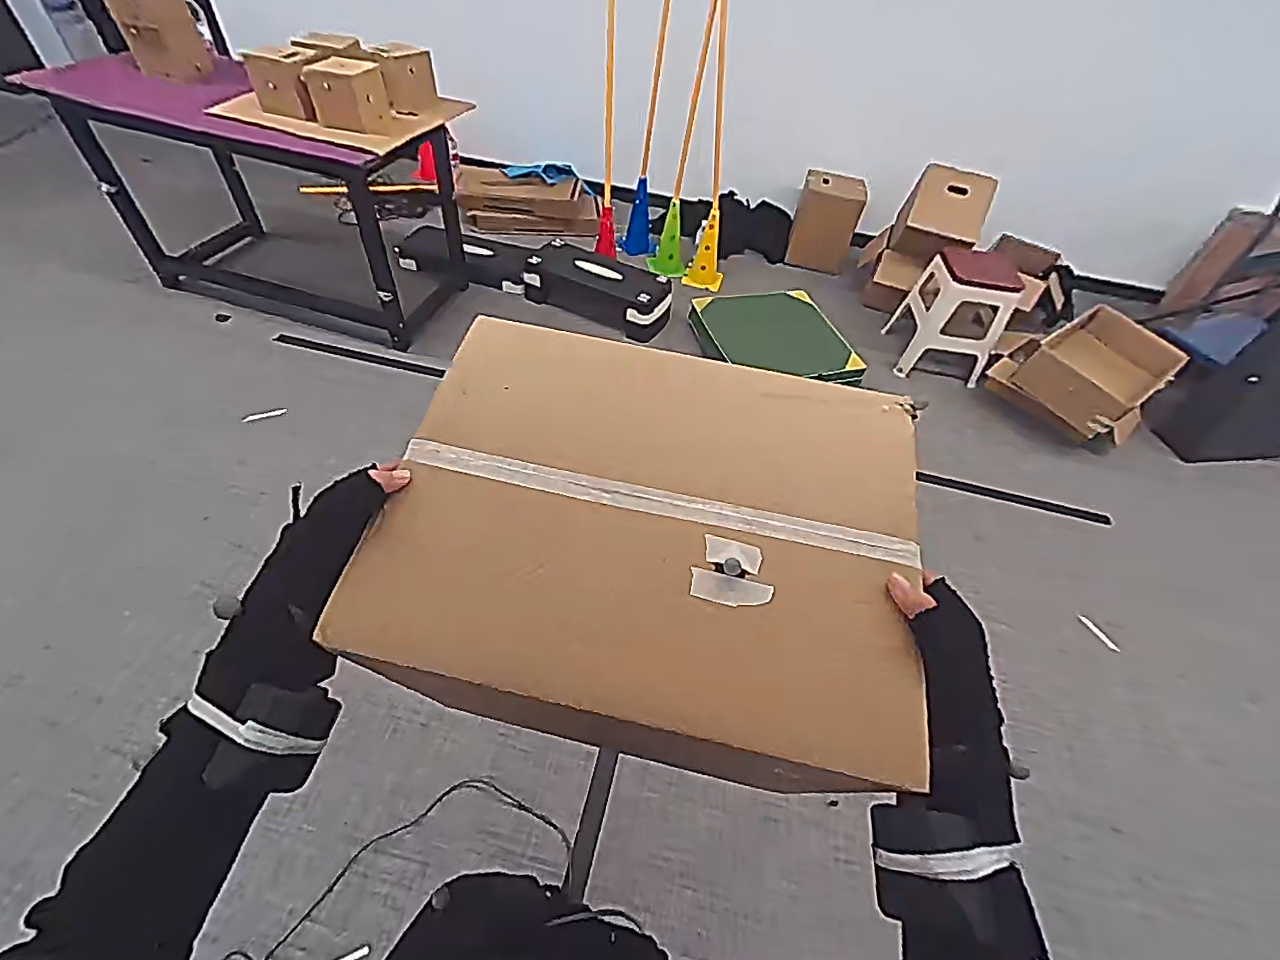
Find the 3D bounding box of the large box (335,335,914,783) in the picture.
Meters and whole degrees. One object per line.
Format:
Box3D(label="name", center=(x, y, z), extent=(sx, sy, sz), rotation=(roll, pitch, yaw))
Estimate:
Box3D(label="large box", center=(0.004, 0.099, 0.560), extent=(0.408, 0.320, 0.320), rotation=(12, 62, 4))
